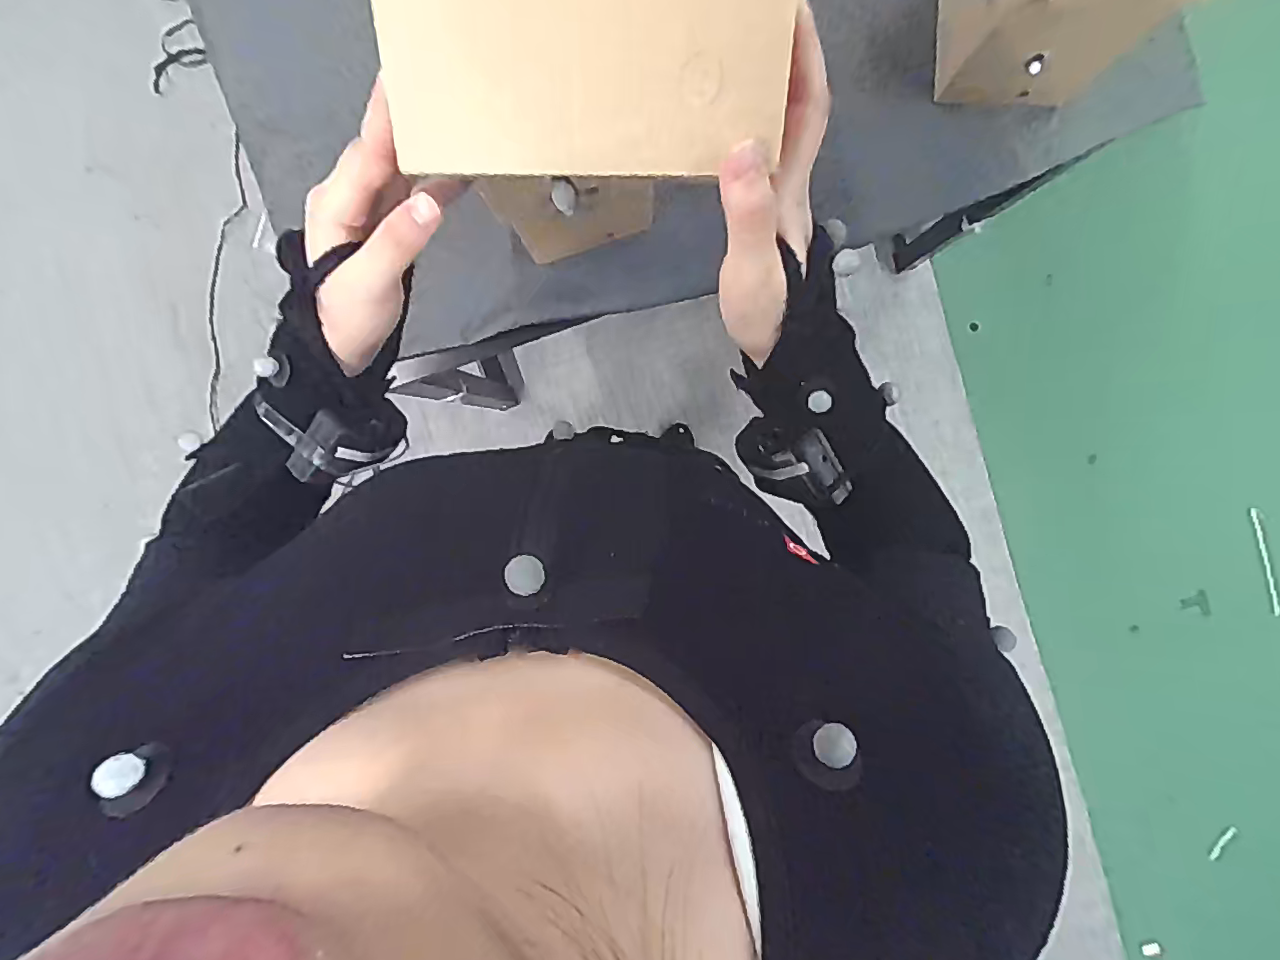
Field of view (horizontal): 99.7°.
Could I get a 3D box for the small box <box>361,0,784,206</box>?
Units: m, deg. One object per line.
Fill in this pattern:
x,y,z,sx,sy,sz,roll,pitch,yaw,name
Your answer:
-0.021,-0.235,0.267,0.168,0.176,0.179,1,117,3,small box

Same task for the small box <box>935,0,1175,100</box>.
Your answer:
0.459,-0.568,0.611,0.168,0.176,0.179,2,92,1,small box

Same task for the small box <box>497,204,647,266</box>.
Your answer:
-0.094,-0.386,0.641,0.168,0.176,0.179,-19,93,2,small box
